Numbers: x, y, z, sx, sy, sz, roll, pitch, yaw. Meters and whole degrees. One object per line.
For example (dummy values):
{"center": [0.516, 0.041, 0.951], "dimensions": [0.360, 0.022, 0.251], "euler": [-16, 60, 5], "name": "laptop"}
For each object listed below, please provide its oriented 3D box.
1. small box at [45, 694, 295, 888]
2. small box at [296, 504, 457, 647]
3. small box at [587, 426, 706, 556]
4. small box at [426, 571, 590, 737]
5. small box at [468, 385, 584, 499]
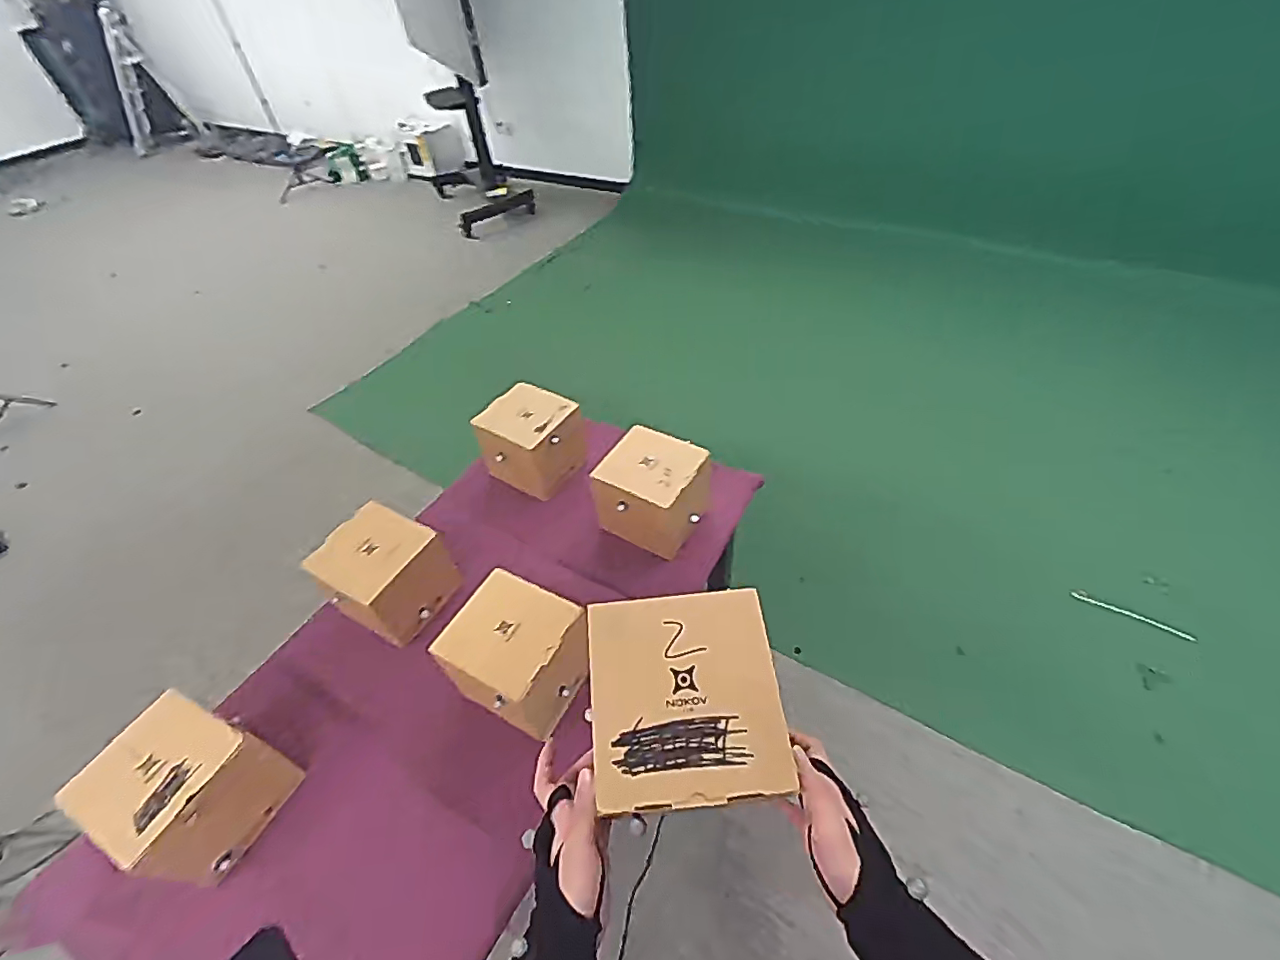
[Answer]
{"center": [-0.643, 0.441, 0.765], "dimensions": [0.179, 0.176, 0.168], "euler": [17, 50, 21], "name": "small box"}
{"center": [-0.474, 0.179, 0.997], "dimensions": [0.179, 0.176, 0.168], "euler": [21, 53, 22], "name": "small box"}
{"center": [0.019, 0.024, 1.086], "dimensions": [0.179, 0.176, 0.168], "euler": [23, 54, 24], "name": "small box"}
{"center": [-0.201, 0.282, 0.872], "dimensions": [0.179, 0.176, 0.168], "euler": [19, 51, 22], "name": "small box"}
{"center": [-0.249, -0.083, 1.219], "dimensions": [0.179, 0.176, 0.168], "euler": [23, 54, 25], "name": "small box"}
